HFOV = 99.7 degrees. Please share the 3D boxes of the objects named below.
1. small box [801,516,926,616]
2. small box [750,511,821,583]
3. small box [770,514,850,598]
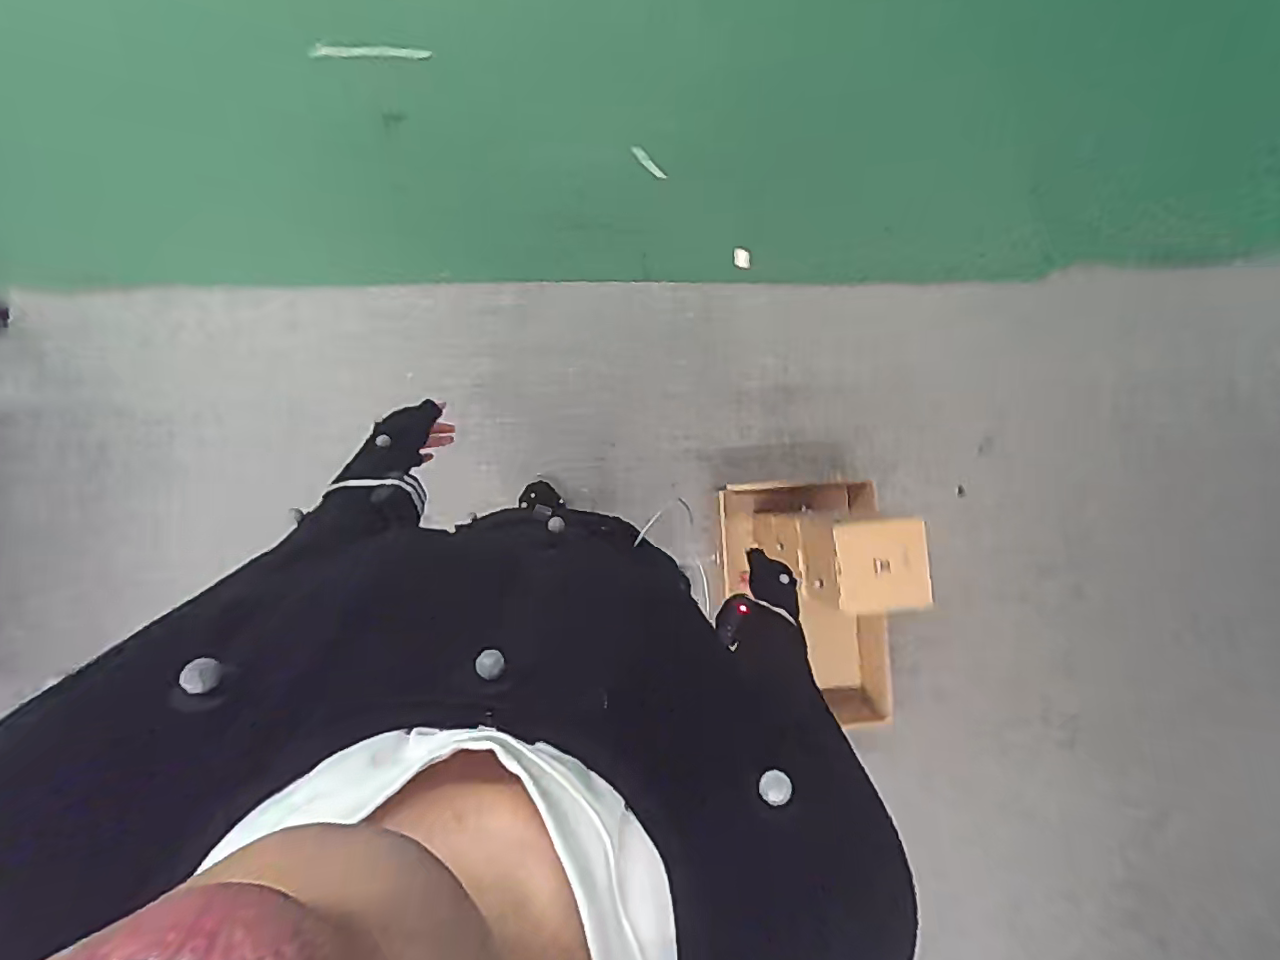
[{"bbox_3d":[0.427,0.162,1.061,0.179,0.176,0.168,-4,91,-5],"label":"small box"},{"bbox_3d":[0.392,0.167,1.386,0.179,0.176,0.168,-1,89,-5],"label":"small box"},{"bbox_3d":[0.407,0.166,1.223,0.179,0.176,0.168,-2,90,-5],"label":"small box"}]
